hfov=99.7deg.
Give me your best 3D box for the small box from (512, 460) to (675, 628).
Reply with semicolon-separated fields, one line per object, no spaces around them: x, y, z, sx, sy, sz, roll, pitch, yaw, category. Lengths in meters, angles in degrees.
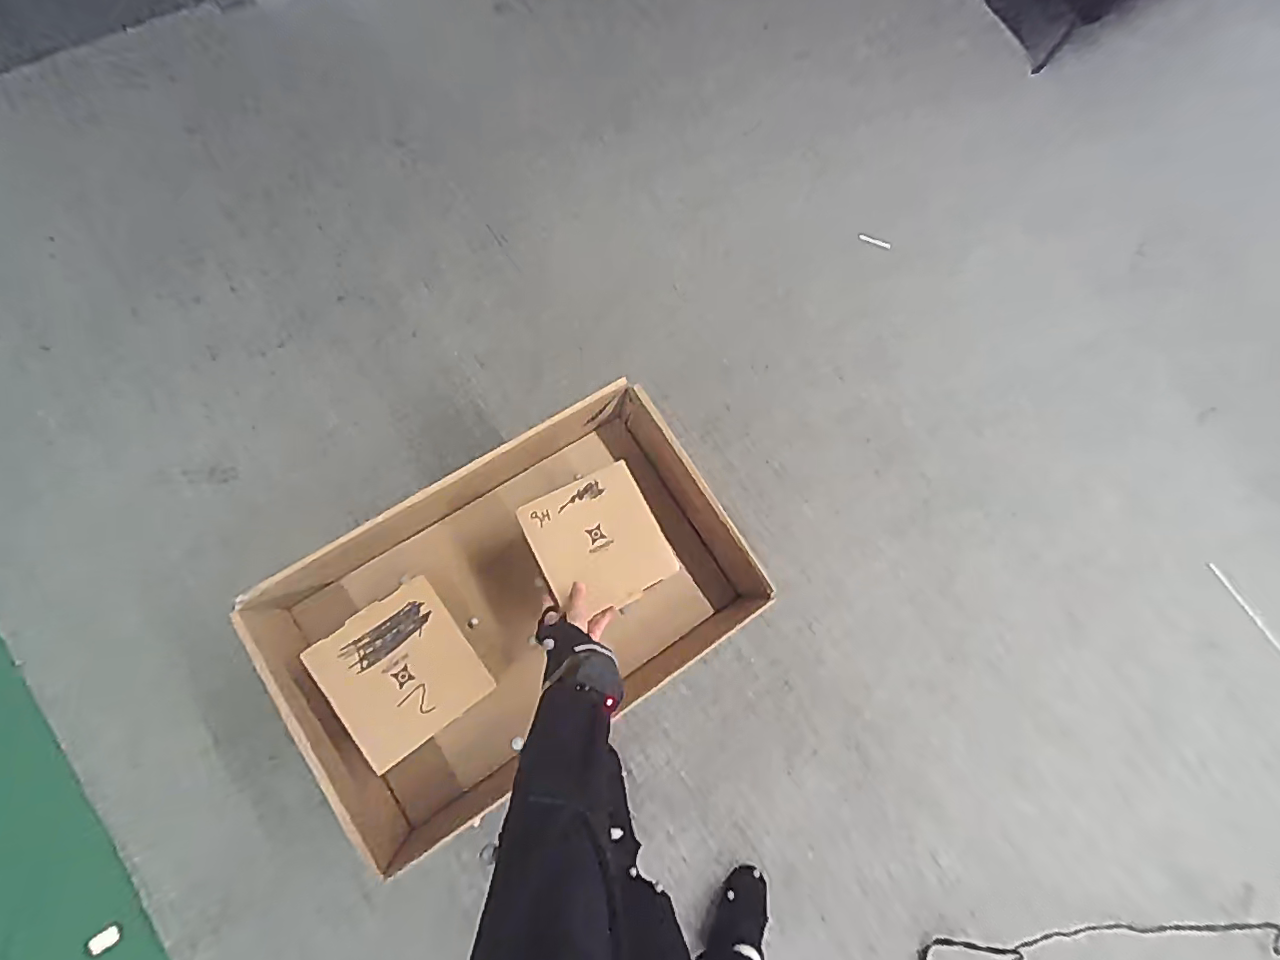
-0.069;0.099;0.788;0.168;0.176;0.179;-25;79;-14;small box
